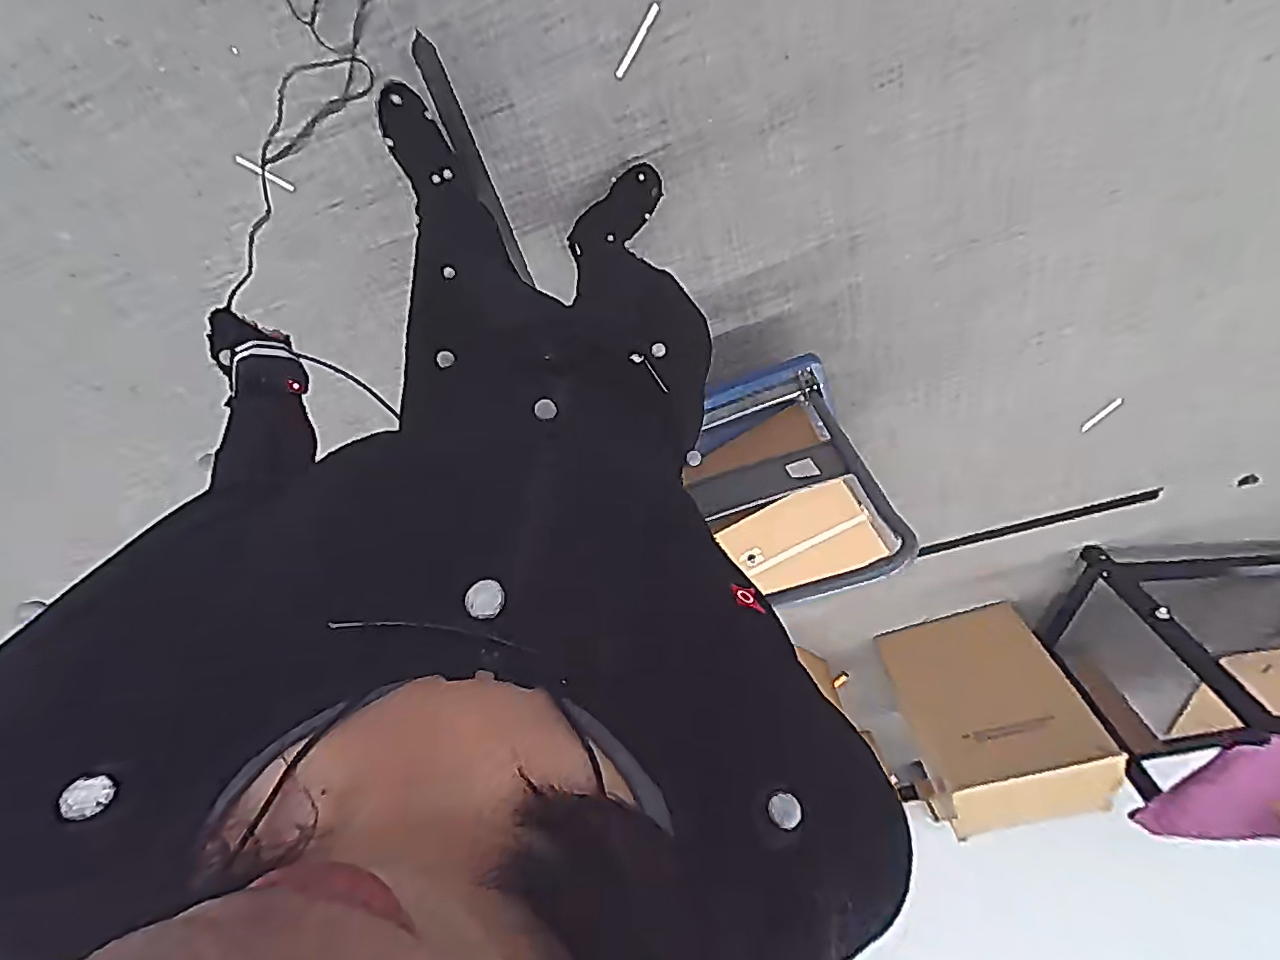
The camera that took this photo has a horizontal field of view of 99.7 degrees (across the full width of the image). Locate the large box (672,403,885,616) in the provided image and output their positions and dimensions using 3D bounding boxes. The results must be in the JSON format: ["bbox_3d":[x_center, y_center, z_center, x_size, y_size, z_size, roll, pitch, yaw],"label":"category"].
[{"bbox_3d":[0.336,0.078,1.399,0.408,0.320,0.320,-31,121,20],"label":"large box"}]
